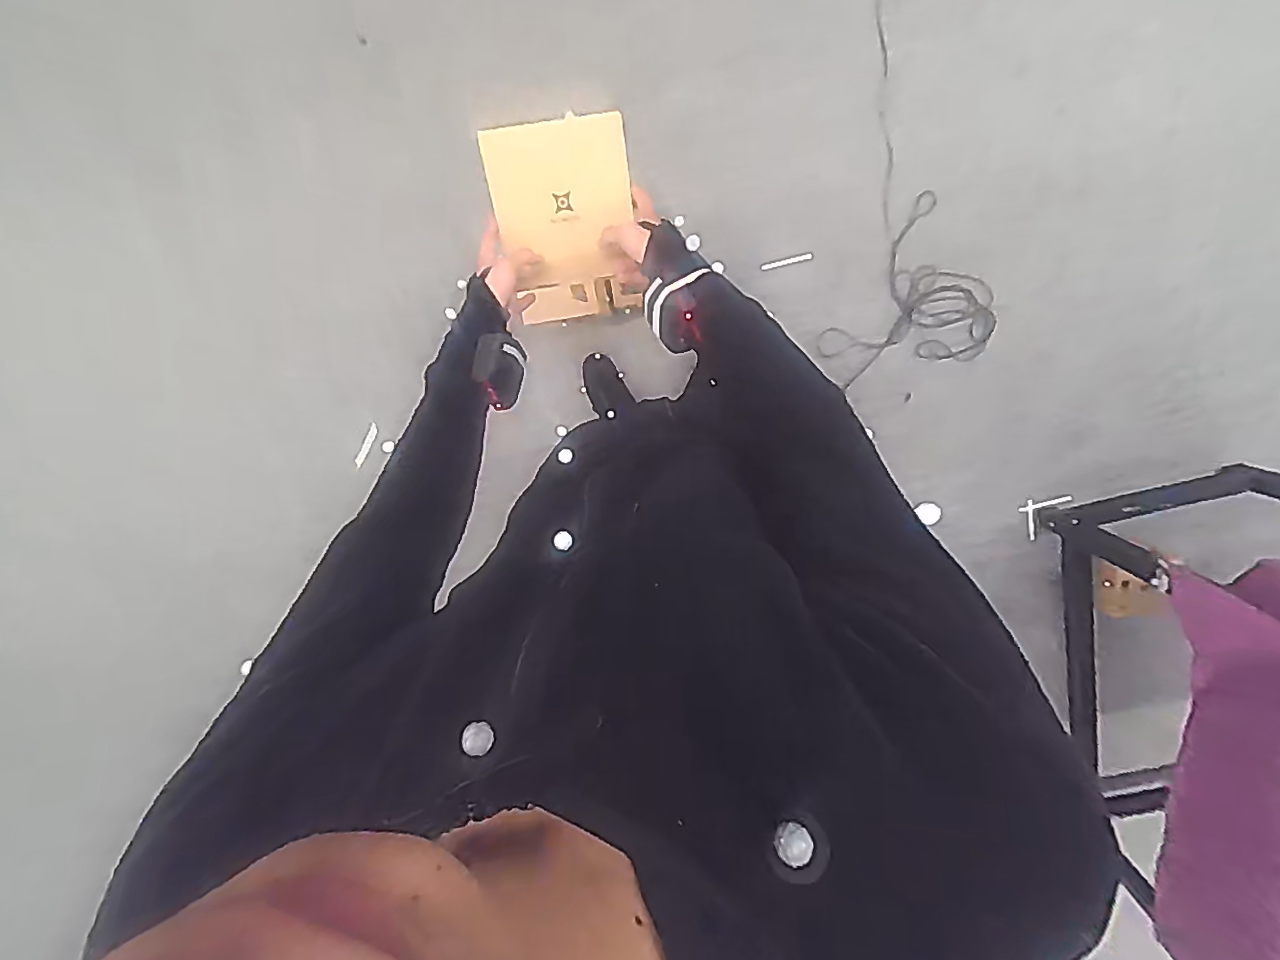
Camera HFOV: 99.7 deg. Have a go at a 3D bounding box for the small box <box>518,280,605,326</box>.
[{"bbox_3d":[-0.179,-0.455,1.248,0.179,0.176,0.168,-8,106,5],"label":"small box"}]

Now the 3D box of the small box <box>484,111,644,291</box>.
[{"bbox_3d":[-0.092,-0.360,0.710,0.168,0.176,0.179,-9,118,0],"label":"small box"}]
